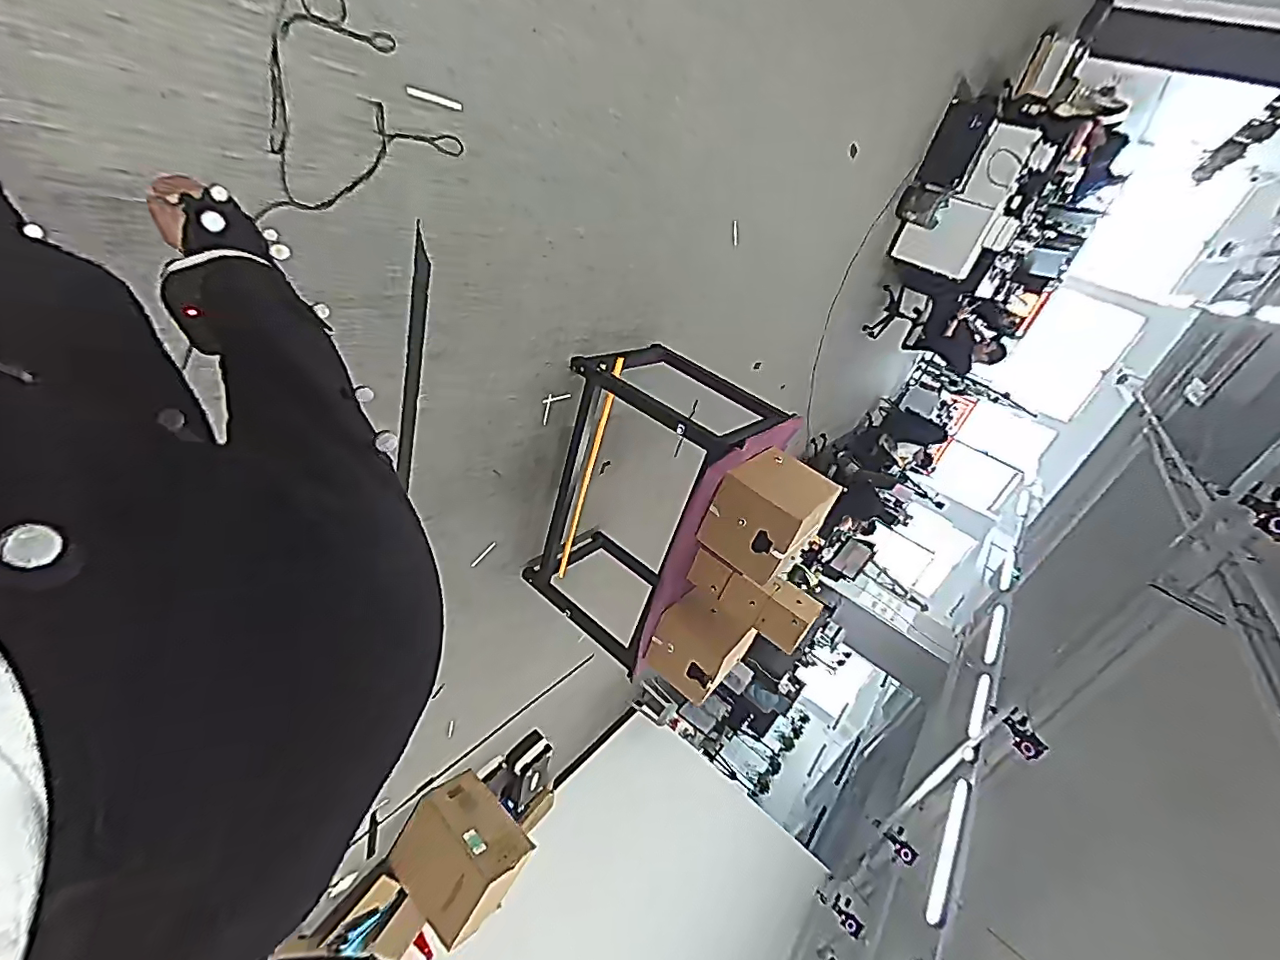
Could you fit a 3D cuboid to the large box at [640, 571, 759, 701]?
[{"bbox_3d":[0.260,0.669,2.378,0.408,0.320,0.320,-27,144,-50],"label":"large box"}]
